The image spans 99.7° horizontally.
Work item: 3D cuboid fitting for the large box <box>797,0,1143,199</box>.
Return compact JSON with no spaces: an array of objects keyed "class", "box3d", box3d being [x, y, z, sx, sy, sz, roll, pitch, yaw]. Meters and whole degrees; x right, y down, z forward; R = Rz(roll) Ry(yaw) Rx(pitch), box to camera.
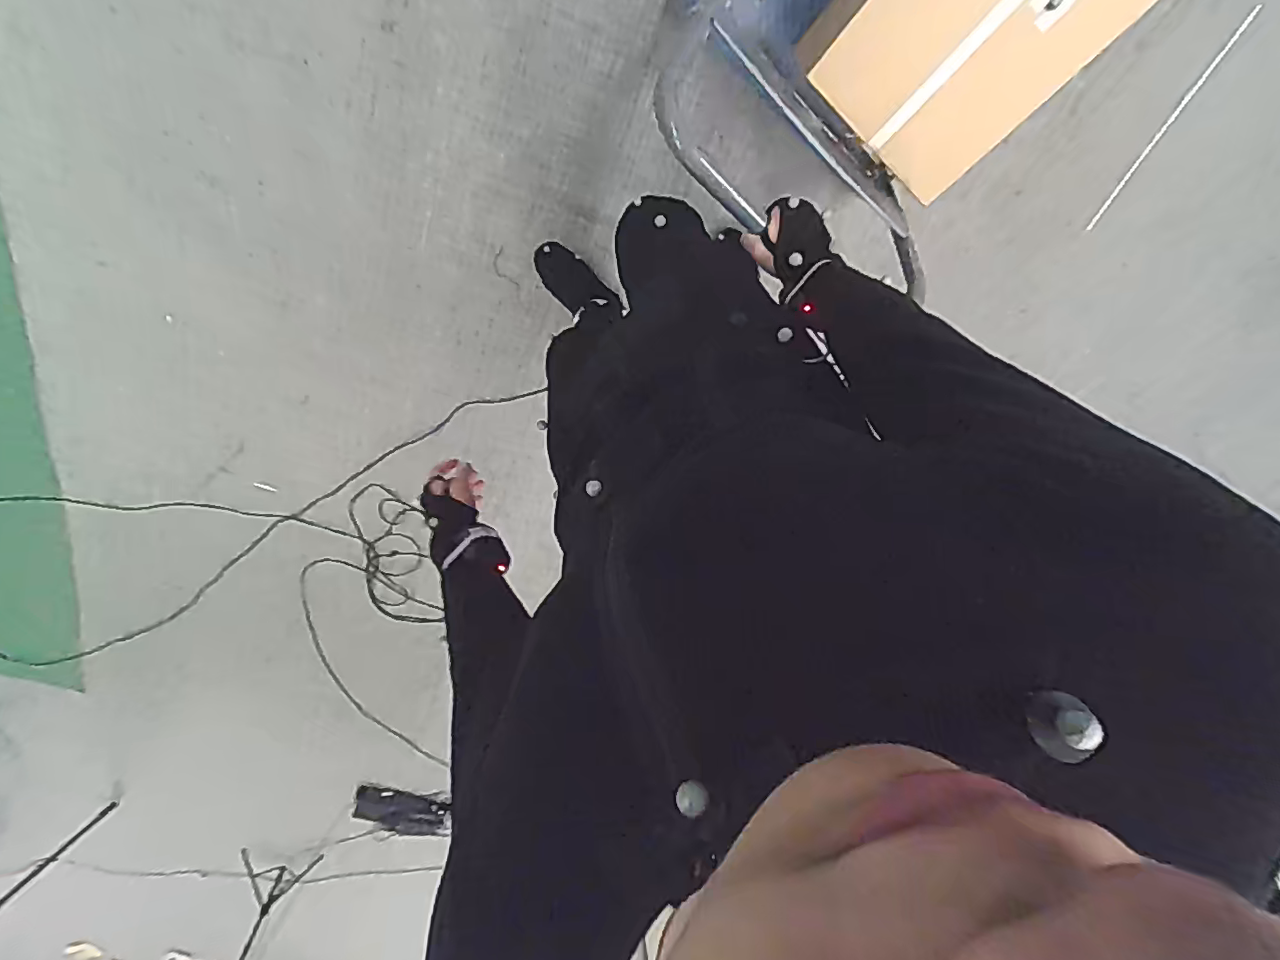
[{"class":"large box","box3d":[0.517,-0.773,0.888,0.320,0.320,0.408,32,132,-21]}]
